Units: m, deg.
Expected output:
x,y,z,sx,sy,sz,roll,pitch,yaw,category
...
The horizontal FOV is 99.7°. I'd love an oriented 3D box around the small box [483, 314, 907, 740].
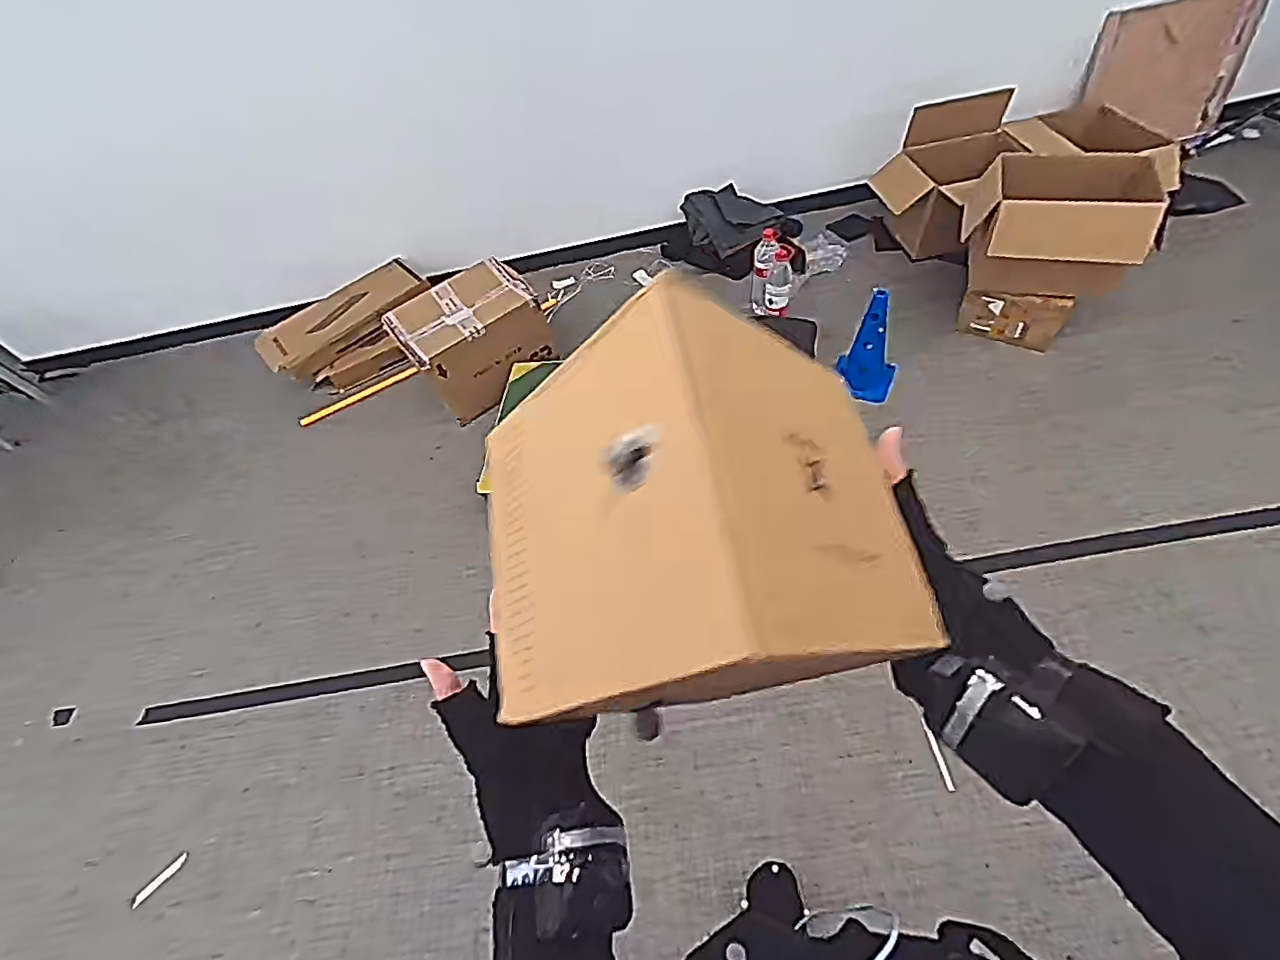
x,y,z,sx,sy,sz,roll,pitch,yaw,category
0.017,0.043,0.327,0.176,0.168,0.179,-35,55,40,small box
